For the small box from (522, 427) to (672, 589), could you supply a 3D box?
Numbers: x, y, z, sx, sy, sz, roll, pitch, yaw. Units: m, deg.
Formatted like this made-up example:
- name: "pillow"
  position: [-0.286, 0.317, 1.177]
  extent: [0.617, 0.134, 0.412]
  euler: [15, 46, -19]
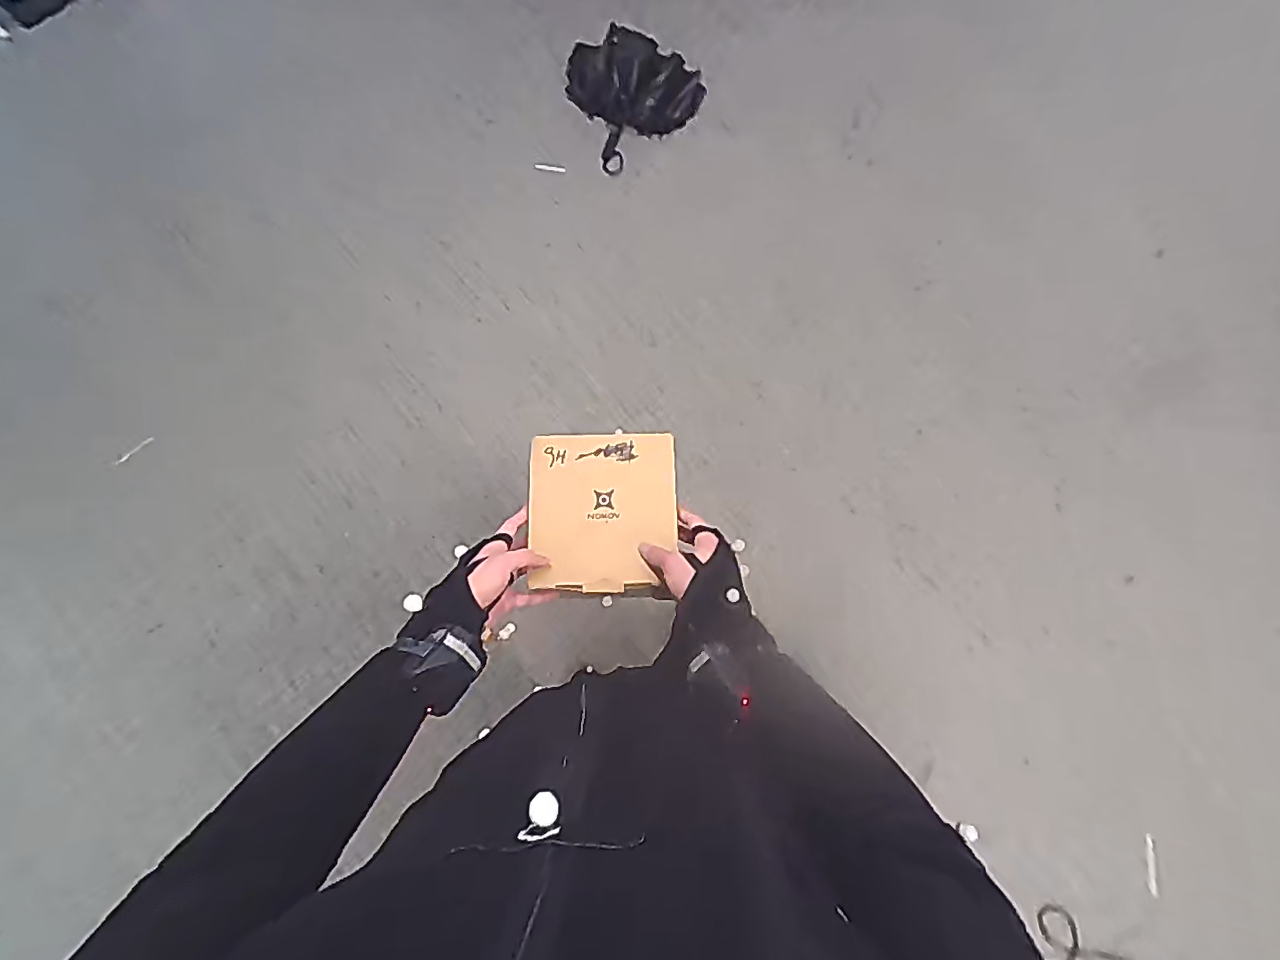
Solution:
- name: "small box"
  position: [-0.046, 0.045, 0.676]
  extent: [0.168, 0.176, 0.179]
  euler: [-1, 74, 0]
